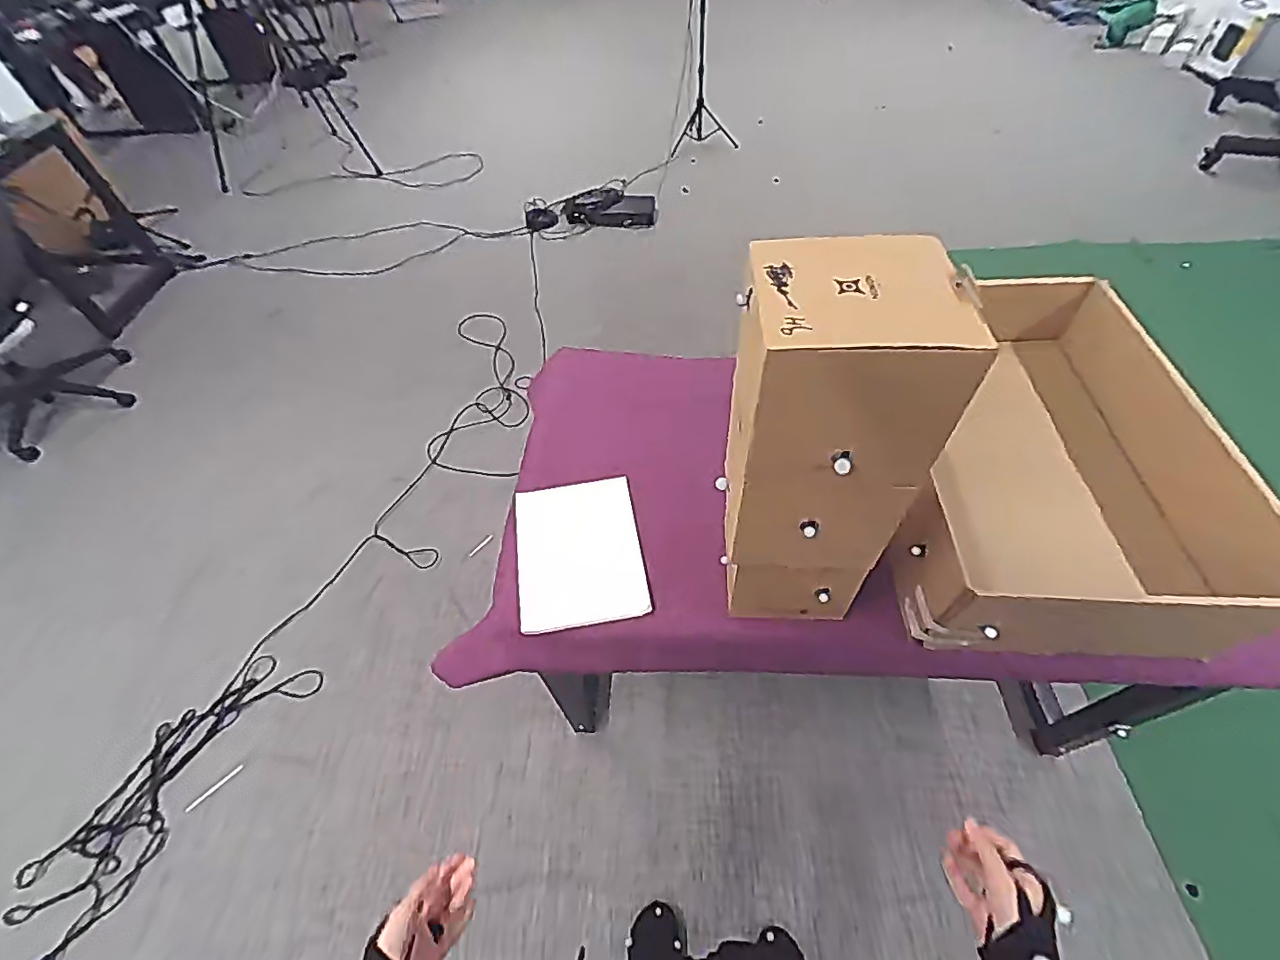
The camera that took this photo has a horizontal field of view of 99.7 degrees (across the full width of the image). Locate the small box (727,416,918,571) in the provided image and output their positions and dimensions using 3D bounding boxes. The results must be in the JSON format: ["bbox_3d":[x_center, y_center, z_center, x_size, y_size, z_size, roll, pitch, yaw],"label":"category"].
[{"bbox_3d":[0.199,-0.003,0.648,0.179,0.176,0.168,1,51,6],"label":"small box"}]

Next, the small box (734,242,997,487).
[{"bbox_3d":[0.190,-0.106,0.520,0.179,0.176,0.168,2,50,4],"label":"small box"}]
